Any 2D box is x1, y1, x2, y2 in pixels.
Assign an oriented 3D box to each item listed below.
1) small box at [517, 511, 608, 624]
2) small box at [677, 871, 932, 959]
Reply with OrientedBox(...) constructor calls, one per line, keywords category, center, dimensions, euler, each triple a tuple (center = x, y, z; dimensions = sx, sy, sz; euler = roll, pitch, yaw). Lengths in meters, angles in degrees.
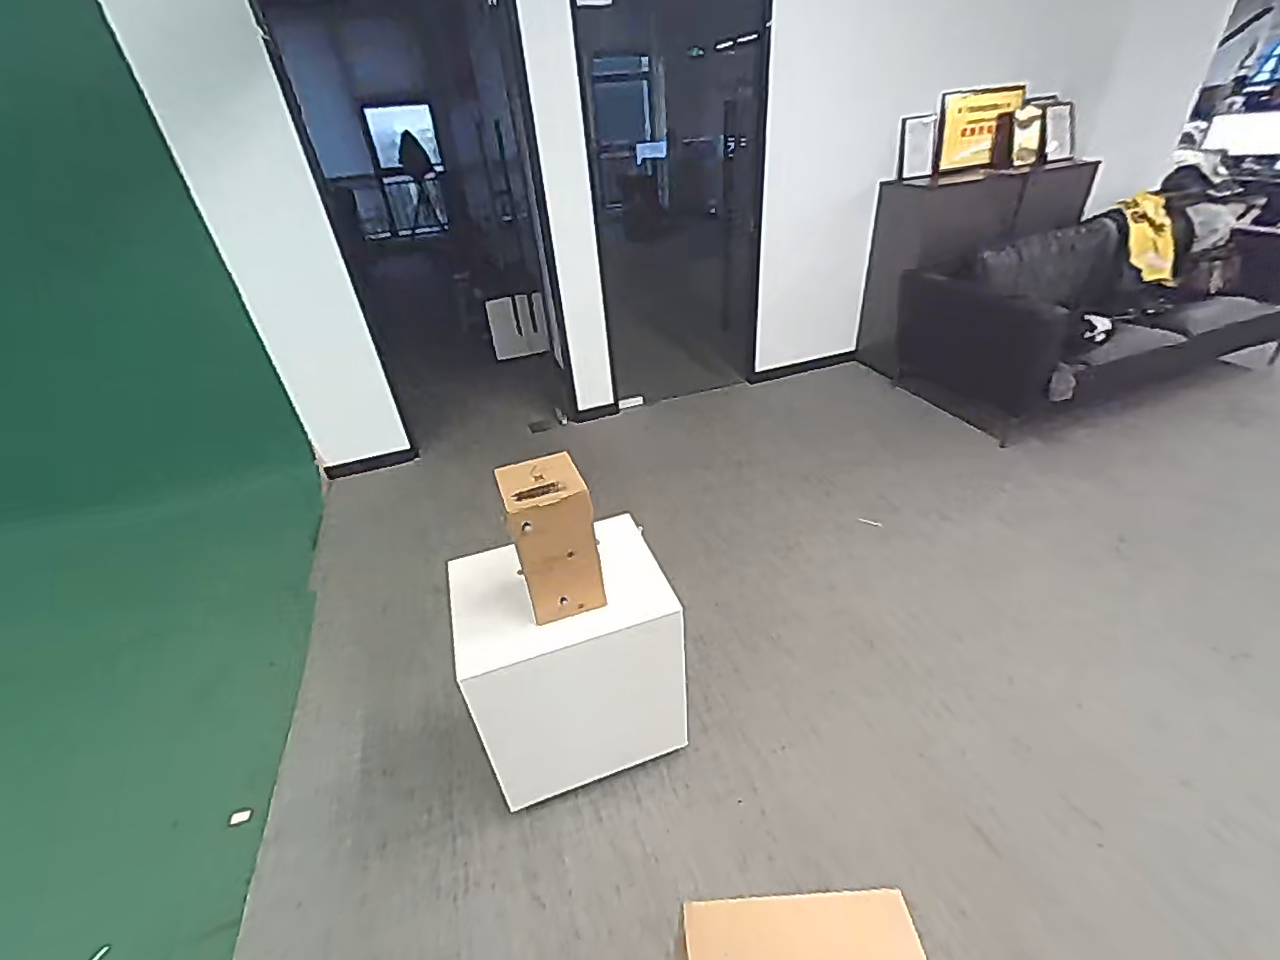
OrientedBox(category="small box", center=(-0.180, 0.202, 1.259), dimensions=(0.168, 0.176, 0.179), euler=(-14, 35, -14))
OrientedBox(category="small box", center=(0.116, 0.411, 0.378), dimensions=(0.168, 0.176, 0.179), euler=(-2, 36, -2))
